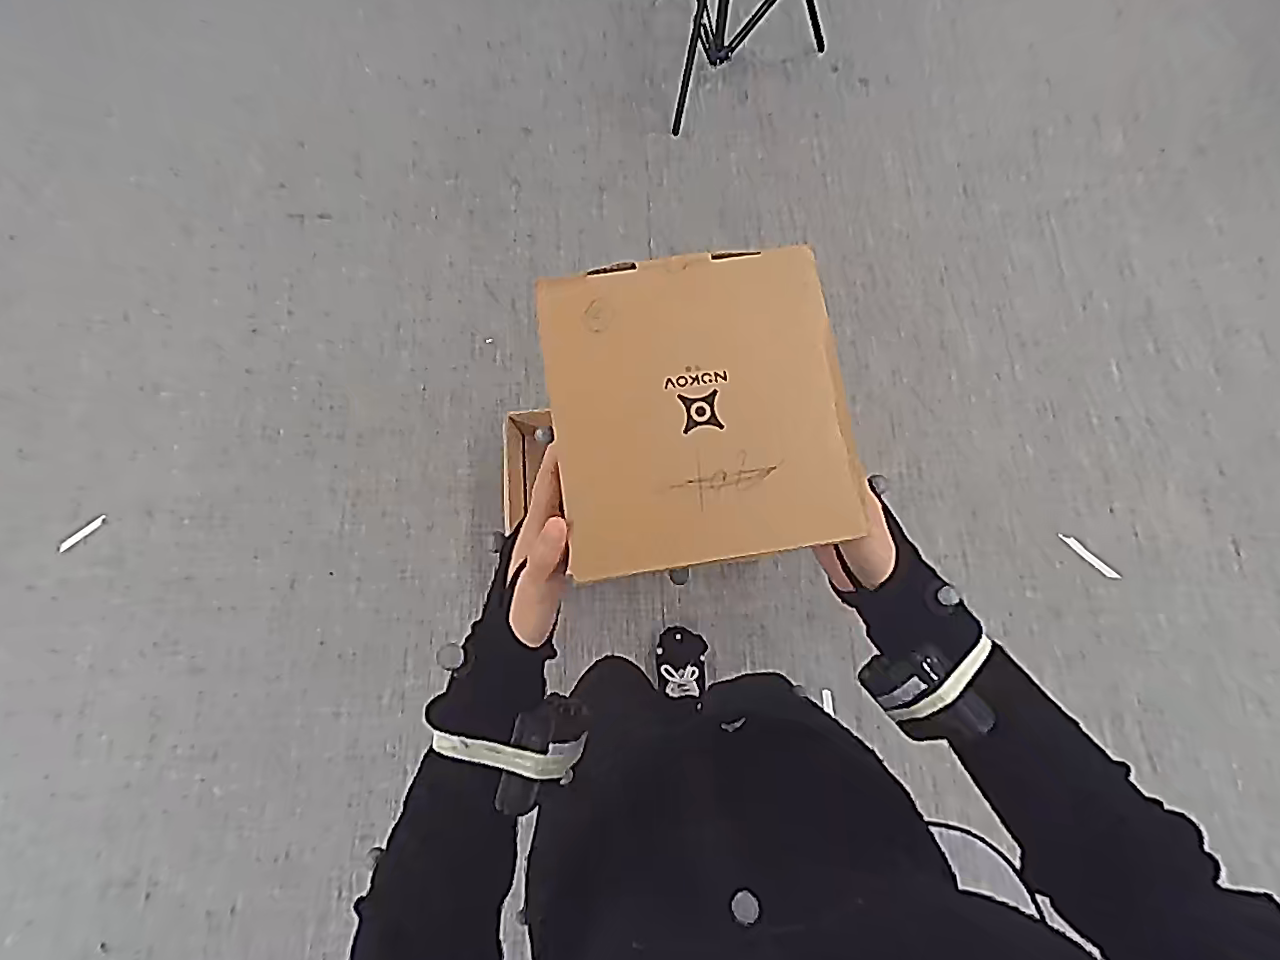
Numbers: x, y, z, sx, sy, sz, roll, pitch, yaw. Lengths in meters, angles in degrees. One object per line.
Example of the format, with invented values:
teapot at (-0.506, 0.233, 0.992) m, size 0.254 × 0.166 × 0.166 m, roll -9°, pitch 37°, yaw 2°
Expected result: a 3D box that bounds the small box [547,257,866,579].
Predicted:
small box at (0.030, -0.029, 0.386) m, size 0.168 × 0.176 × 0.179 m, roll -8°, pitch 84°, yaw -4°
